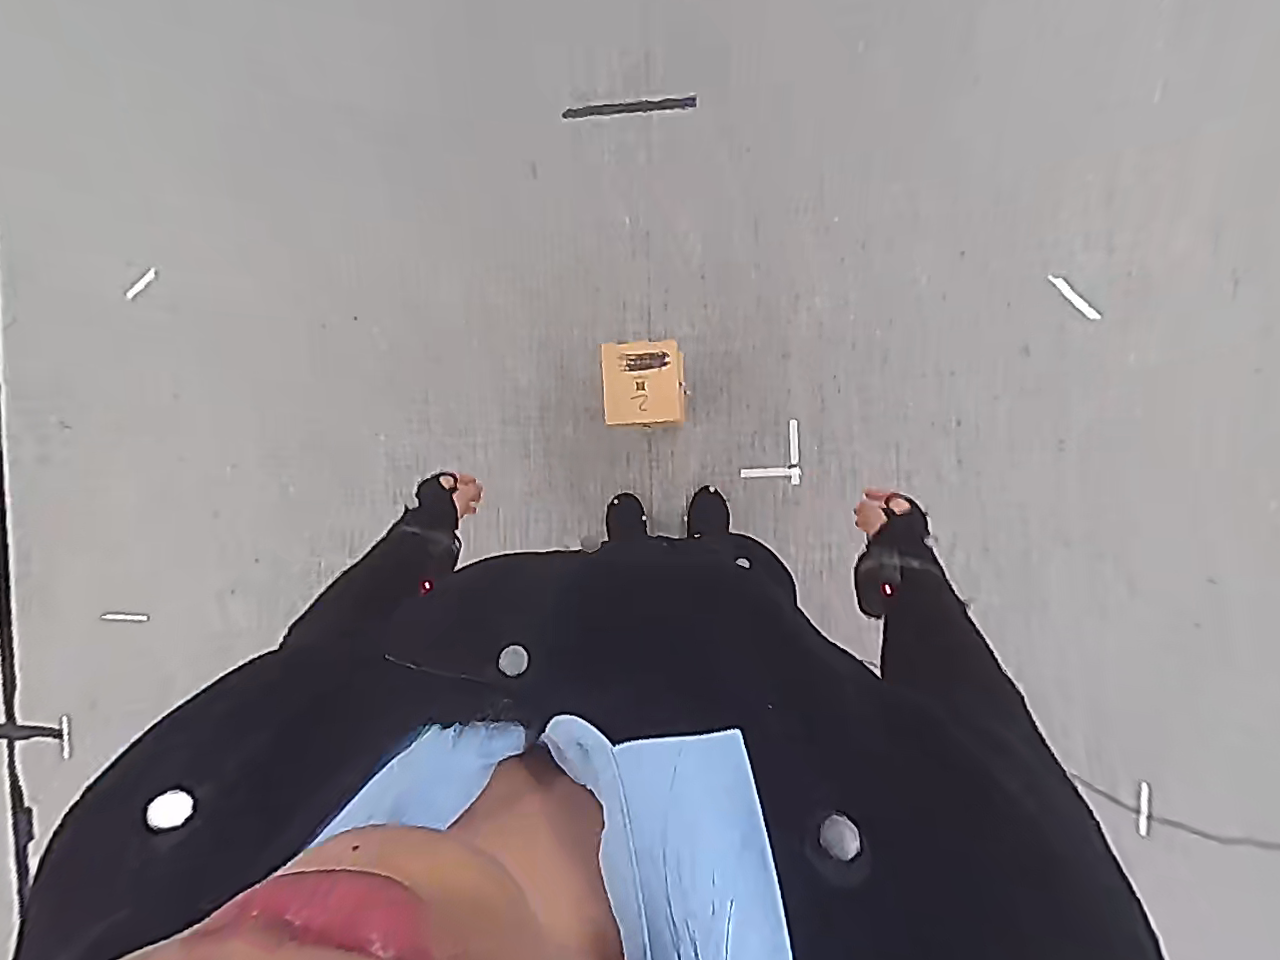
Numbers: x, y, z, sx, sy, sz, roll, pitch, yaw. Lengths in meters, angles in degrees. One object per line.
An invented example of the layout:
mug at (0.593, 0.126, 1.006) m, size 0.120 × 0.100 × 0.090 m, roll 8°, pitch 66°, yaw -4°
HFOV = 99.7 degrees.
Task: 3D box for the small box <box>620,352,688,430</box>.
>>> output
small box at (0.038, -0.224, 1.399) m, size 0.168 × 0.176 × 0.179 m, roll -2°, pitch 92°, yaw 5°
